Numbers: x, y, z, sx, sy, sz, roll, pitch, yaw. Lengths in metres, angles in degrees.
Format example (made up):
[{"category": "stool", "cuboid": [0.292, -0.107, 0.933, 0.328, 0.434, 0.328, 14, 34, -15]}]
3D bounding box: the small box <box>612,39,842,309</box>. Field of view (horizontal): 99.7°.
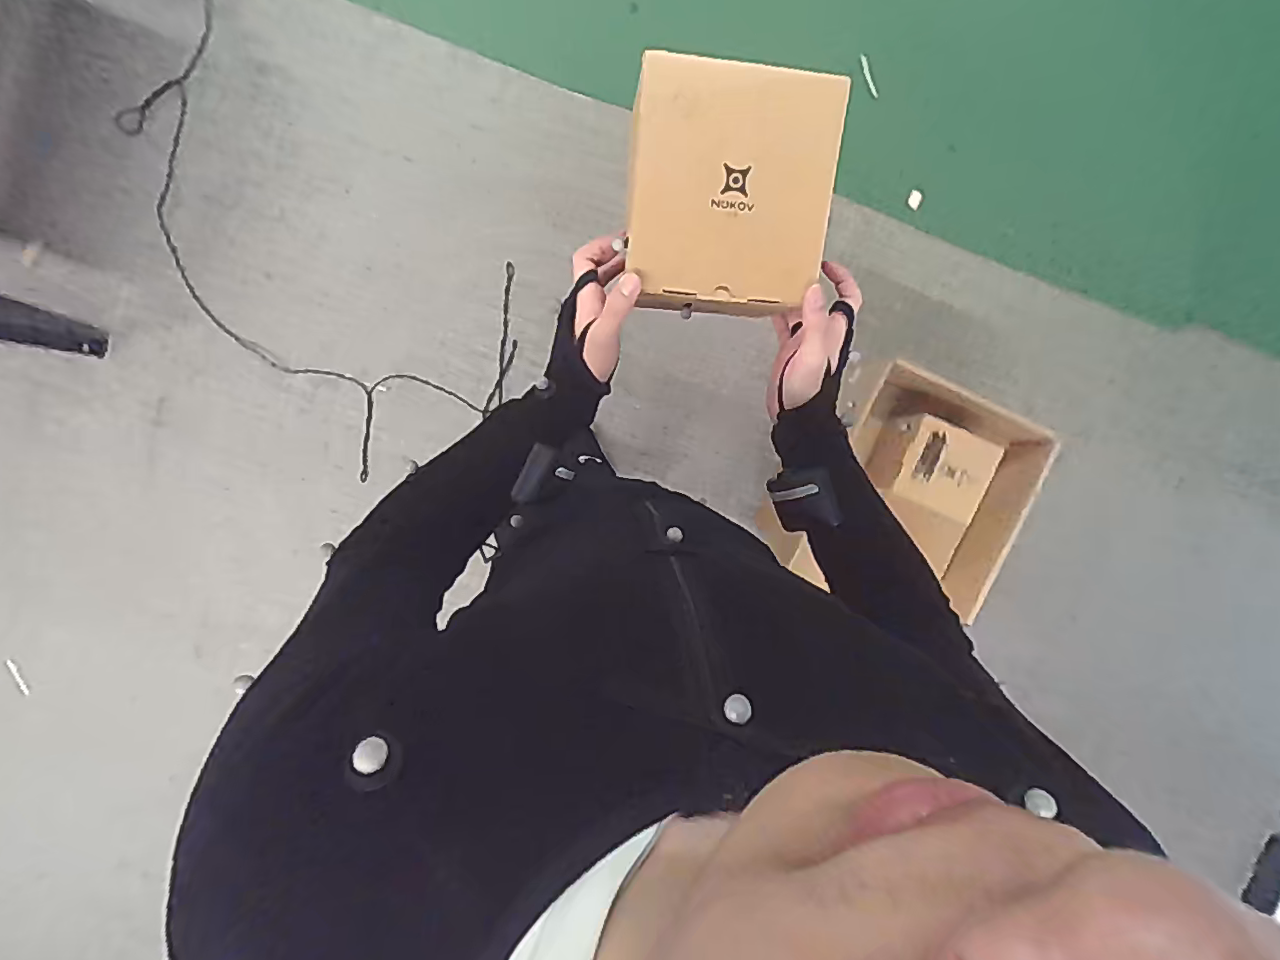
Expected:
[{"category": "small box", "cuboid": [0.063, -0.262, 0.508, 0.168, 0.176, 0.179, 3, 106, -6]}]
